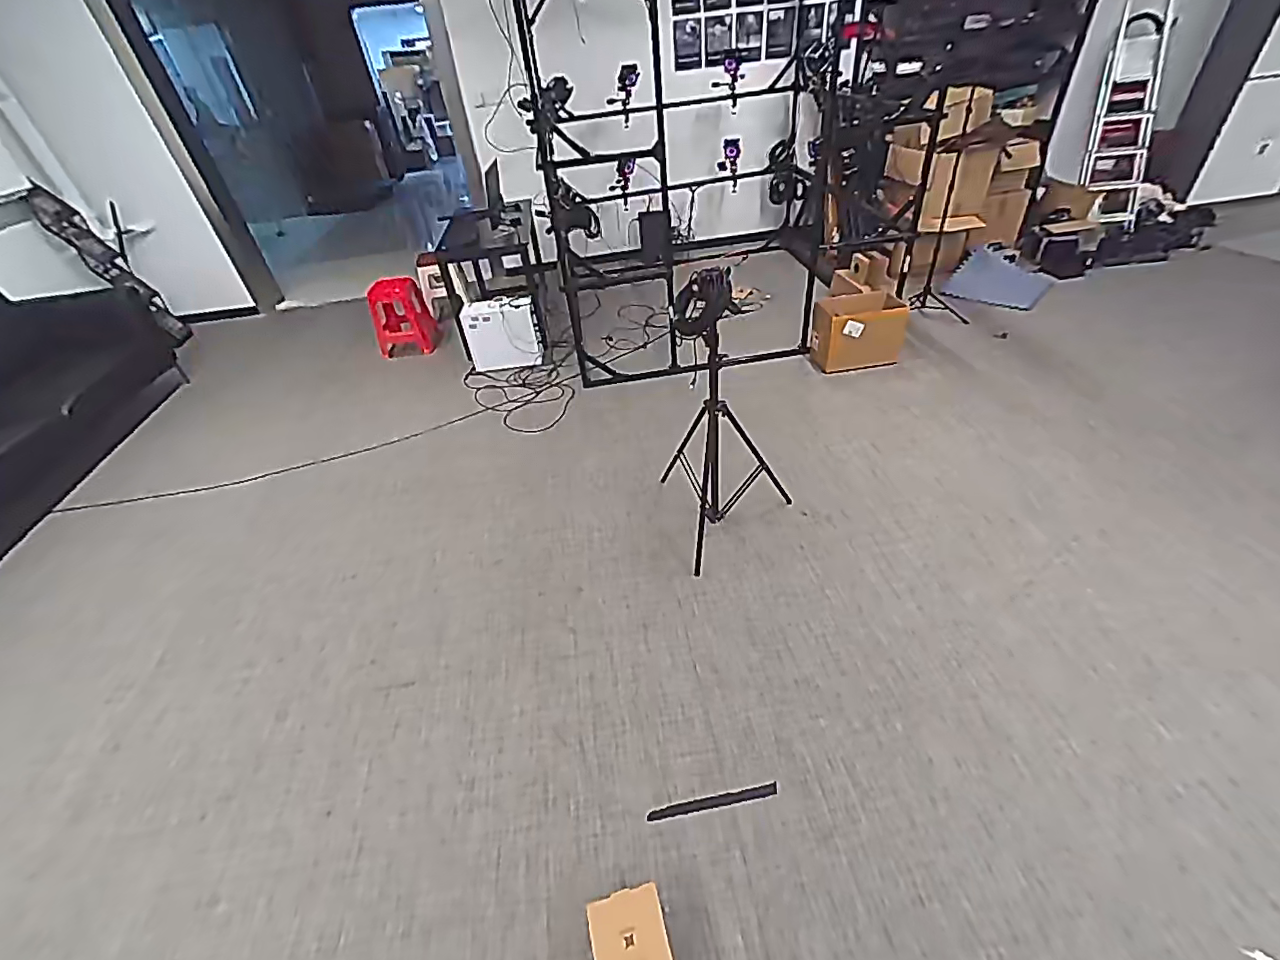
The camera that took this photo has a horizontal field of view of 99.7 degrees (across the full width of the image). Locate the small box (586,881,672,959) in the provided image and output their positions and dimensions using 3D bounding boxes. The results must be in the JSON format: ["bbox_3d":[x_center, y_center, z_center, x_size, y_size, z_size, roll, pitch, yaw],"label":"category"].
[{"bbox_3d":[-0.020,1.060,1.227,0.168,0.176,0.179,-13,40,-7],"label":"small box"}]
